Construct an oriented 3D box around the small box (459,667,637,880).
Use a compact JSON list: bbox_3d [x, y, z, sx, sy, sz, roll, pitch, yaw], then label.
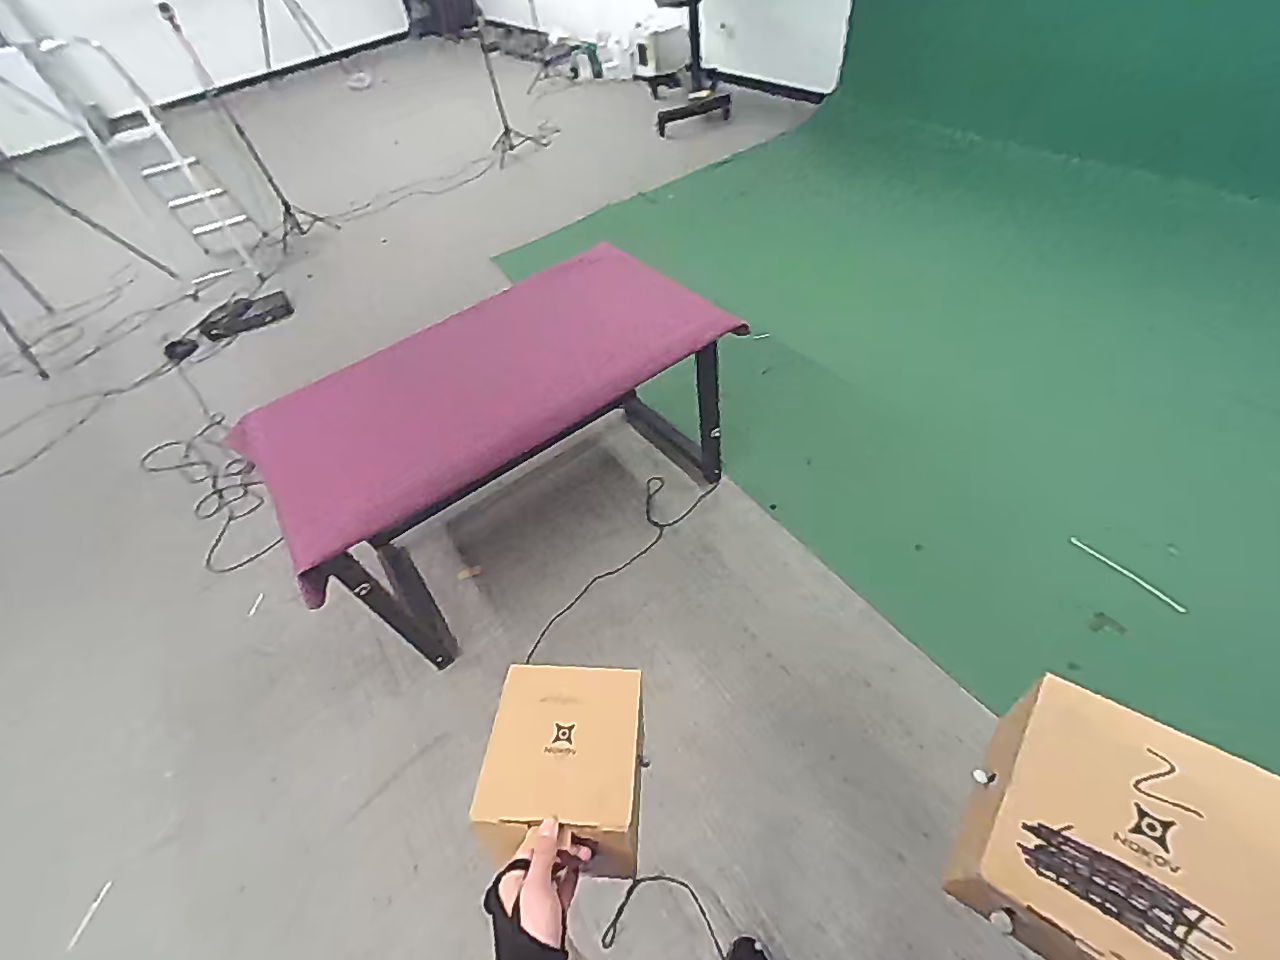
[{"bbox_3d":[-0.092,0.350,0.647,0.168,0.176,0.179,2,39,4],"label":"small box"}]
